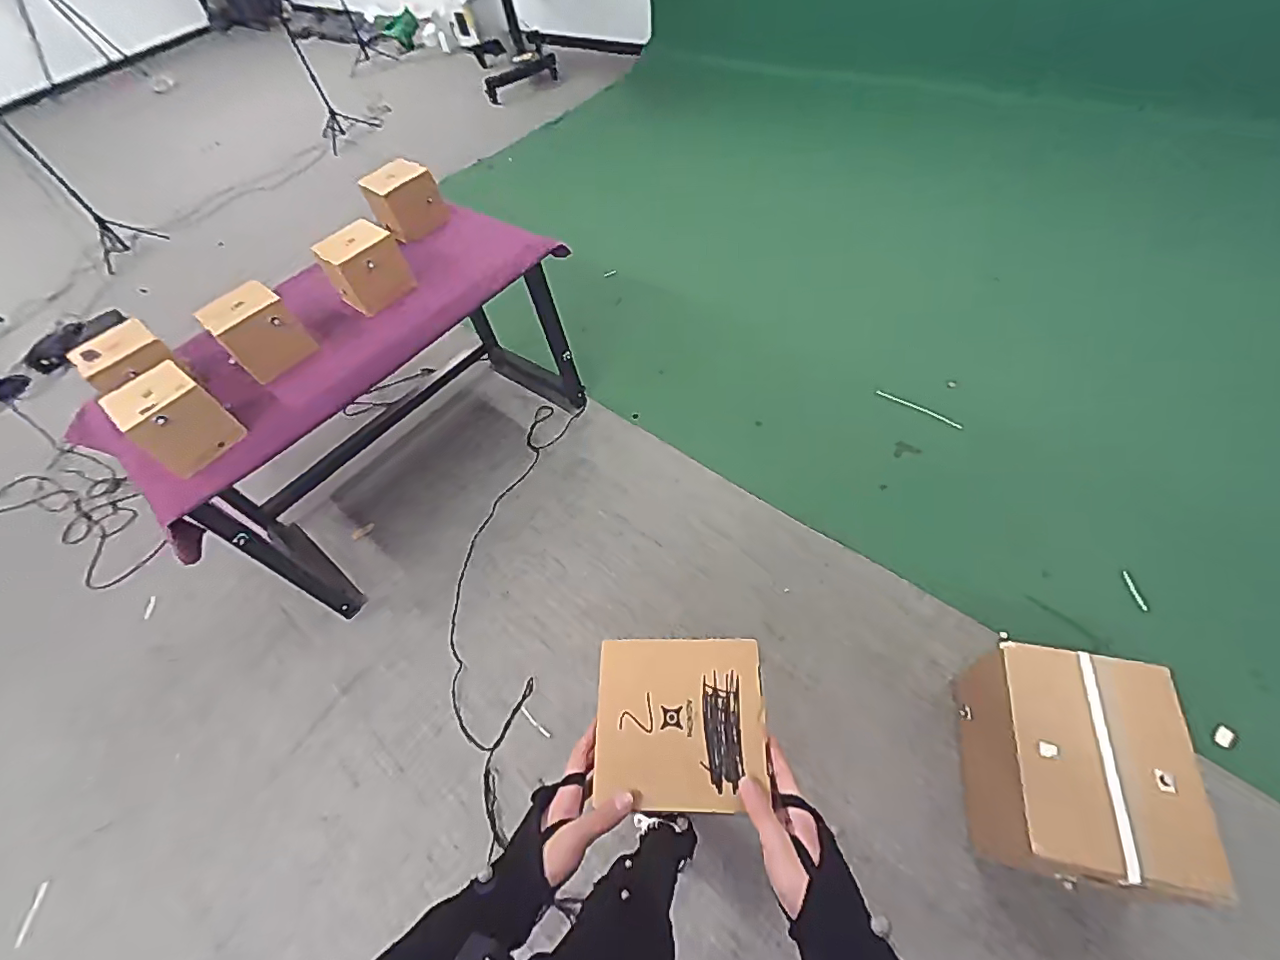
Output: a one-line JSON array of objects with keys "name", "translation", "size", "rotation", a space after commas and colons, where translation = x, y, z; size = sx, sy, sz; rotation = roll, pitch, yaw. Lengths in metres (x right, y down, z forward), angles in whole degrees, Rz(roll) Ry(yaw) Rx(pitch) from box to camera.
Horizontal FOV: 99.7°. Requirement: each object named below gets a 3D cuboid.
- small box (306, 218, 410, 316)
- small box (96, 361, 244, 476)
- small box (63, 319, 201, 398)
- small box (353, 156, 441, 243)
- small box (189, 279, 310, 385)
[{"name": "small box", "translation": [-0.783, -0.600, 1.527], "size": [0.168, 0.176, 0.179], "rotation": [33, 67, 28]}, {"name": "small box", "translation": [-1.074, -0.138, 1.246], "size": [0.179, 0.176, 0.168], "rotation": [30, 65, 29]}, {"name": "small box", "translation": [-1.291, -0.274, 1.384], "size": [0.168, 0.176, 0.179], "rotation": [32, 65, 28]}, {"name": "small box", "translation": [-0.763, -0.894, 1.727], "size": [0.168, 0.176, 0.179], "rotation": [34, 68, 28]}, {"name": "small box", "translation": [-1.003, -0.384, 1.410], "size": [0.168, 0.176, 0.179], "rotation": [33, 66, 29]}]
